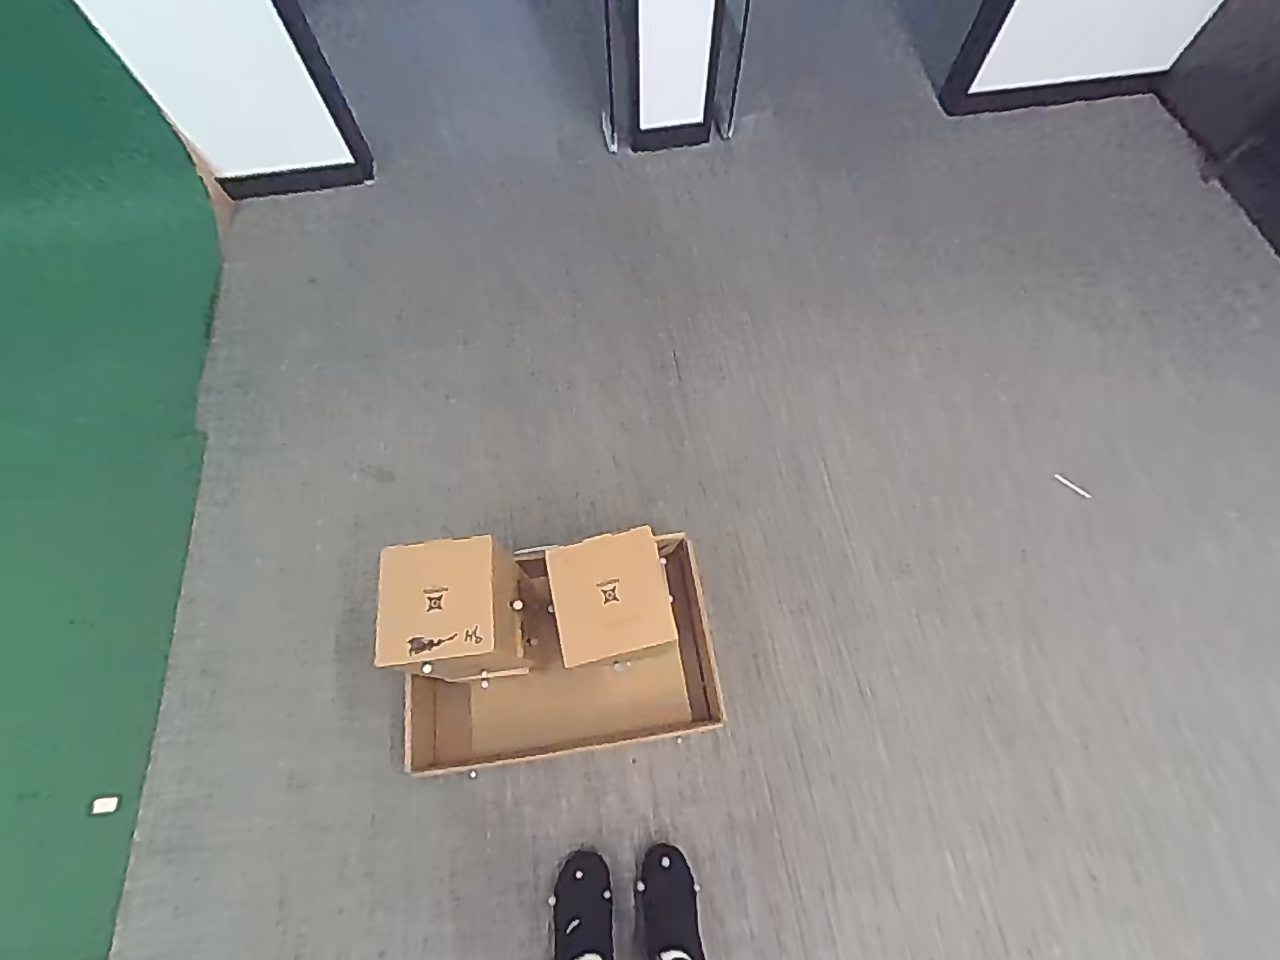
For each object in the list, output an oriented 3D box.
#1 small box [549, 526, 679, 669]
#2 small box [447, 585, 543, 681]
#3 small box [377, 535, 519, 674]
[{"bbox_3d":[-0.041,0.193,0.859,0.168,0.176,0.179,-12,69,-3],"label":"small box"},{"bbox_3d":[-0.302,0.333,1.159,0.168,0.176,0.179,-4,67,-3],"label":"small box"},{"bbox_3d":[-0.291,0.202,0.857,0.168,0.176,0.179,-6,67,-2],"label":"small box"}]
